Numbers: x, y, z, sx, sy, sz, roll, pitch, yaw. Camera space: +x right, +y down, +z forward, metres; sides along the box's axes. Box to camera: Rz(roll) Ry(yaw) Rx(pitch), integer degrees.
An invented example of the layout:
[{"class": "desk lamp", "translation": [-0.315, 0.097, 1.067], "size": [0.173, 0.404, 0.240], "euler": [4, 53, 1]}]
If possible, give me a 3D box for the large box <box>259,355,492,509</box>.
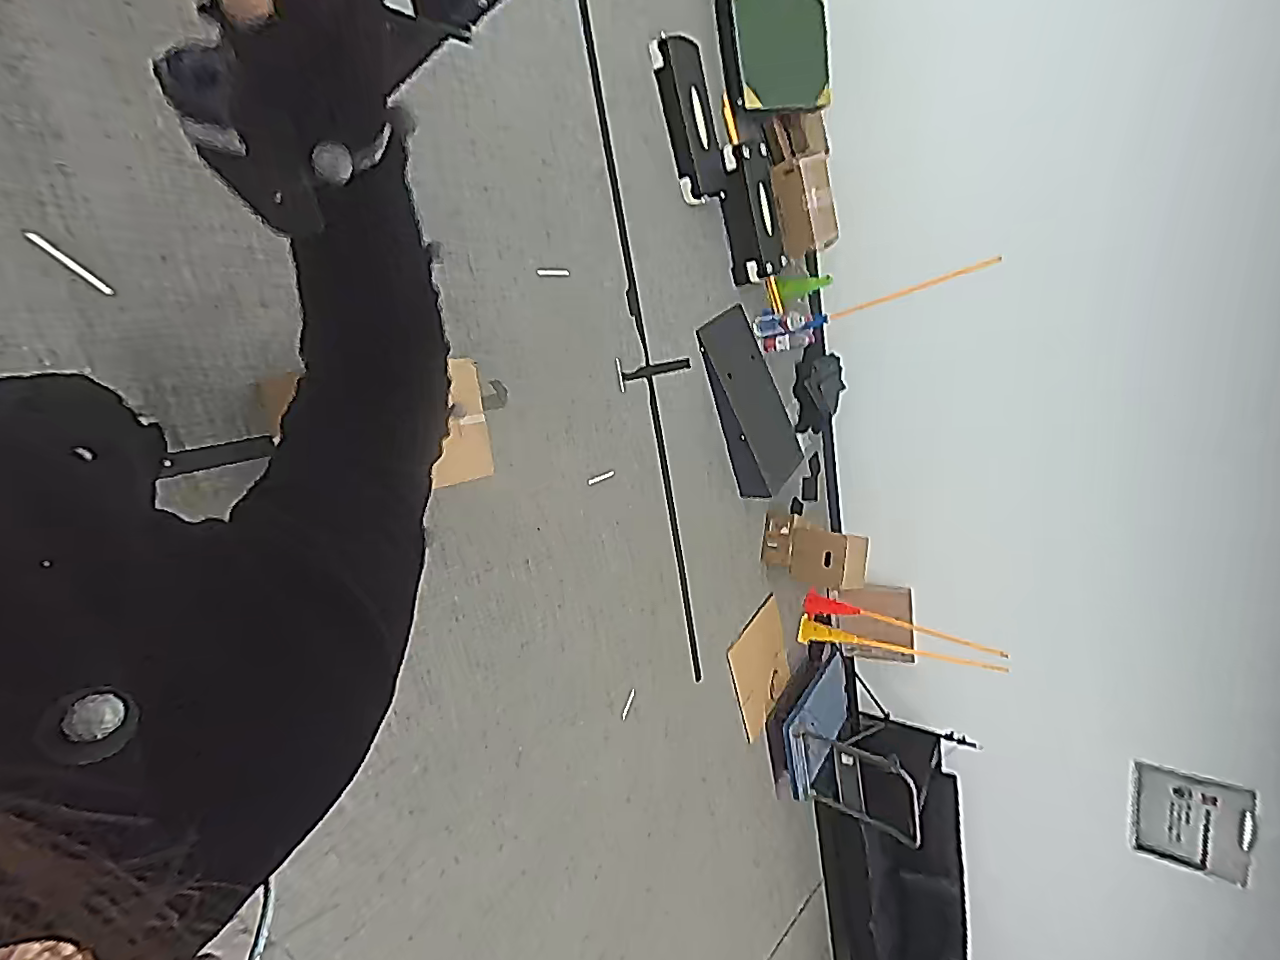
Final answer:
[{"class": "large box", "translation": [-0.654, -0.131, 1.368], "size": [0.408, 0.320, 0.320], "euler": [-19, 107, -49]}]
